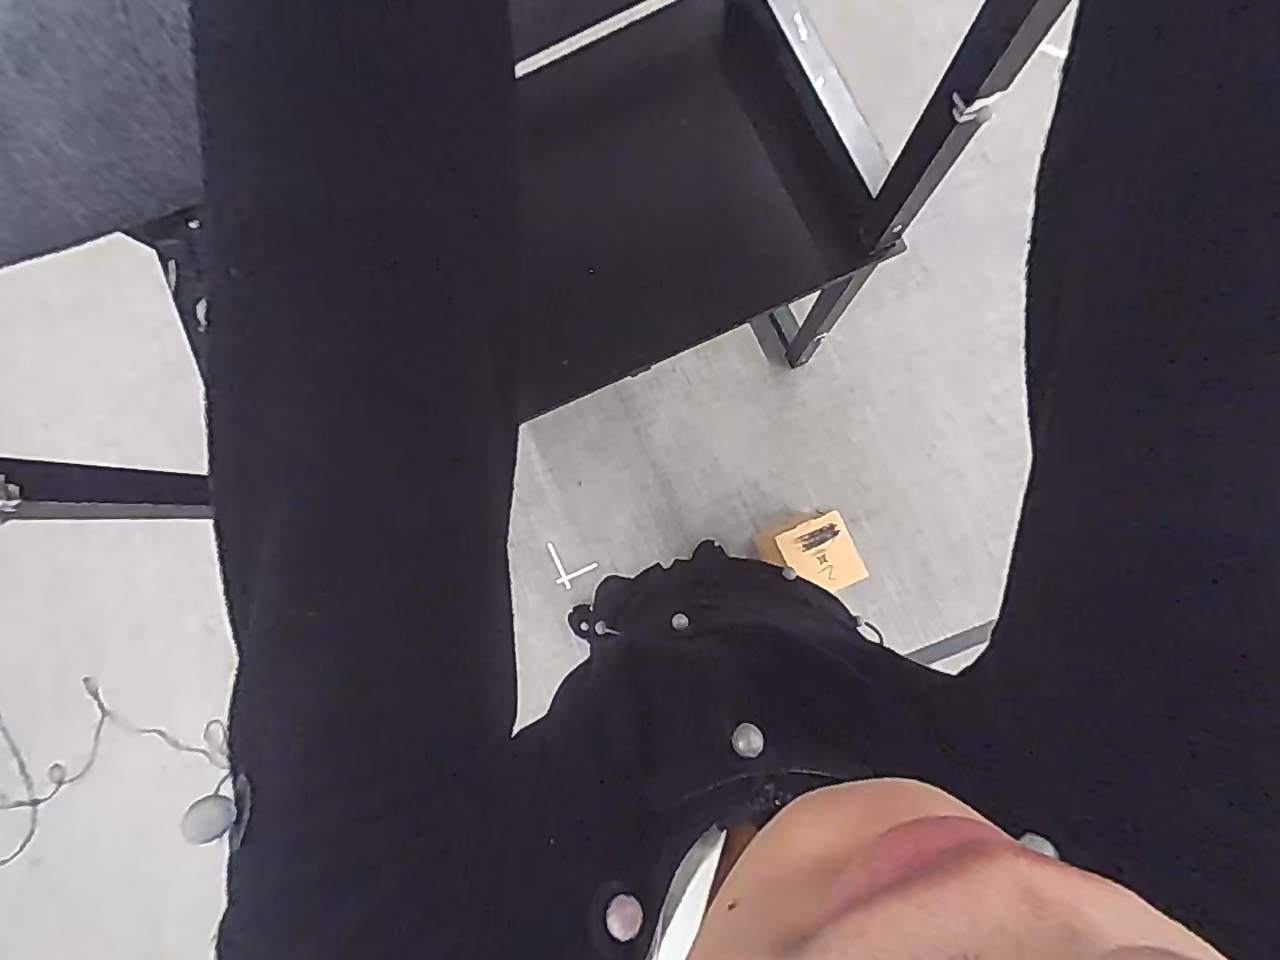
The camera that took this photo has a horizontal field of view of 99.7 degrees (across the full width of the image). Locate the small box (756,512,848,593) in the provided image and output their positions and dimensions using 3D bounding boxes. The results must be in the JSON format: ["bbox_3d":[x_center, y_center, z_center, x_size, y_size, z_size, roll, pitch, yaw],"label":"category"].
[{"bbox_3d":[0.445,0.196,1.515,0.179,0.176,0.168,-26,84,4],"label":"small box"}]
